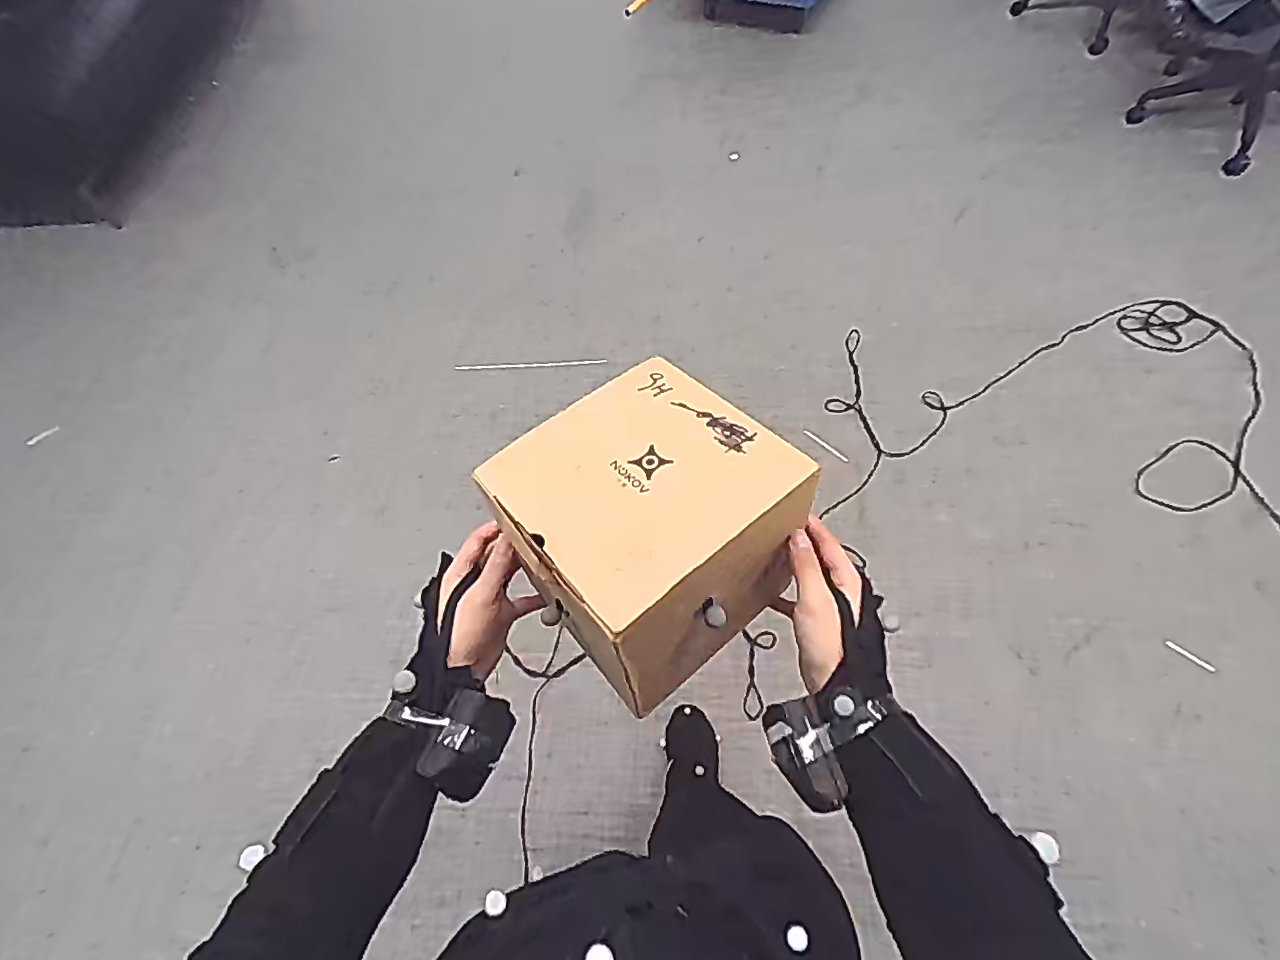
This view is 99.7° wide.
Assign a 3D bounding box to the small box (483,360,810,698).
[{"bbox_3d":[0.010,0.042,0.438,0.179,0.176,0.168,-36,56,-20],"label":"small box"}]
